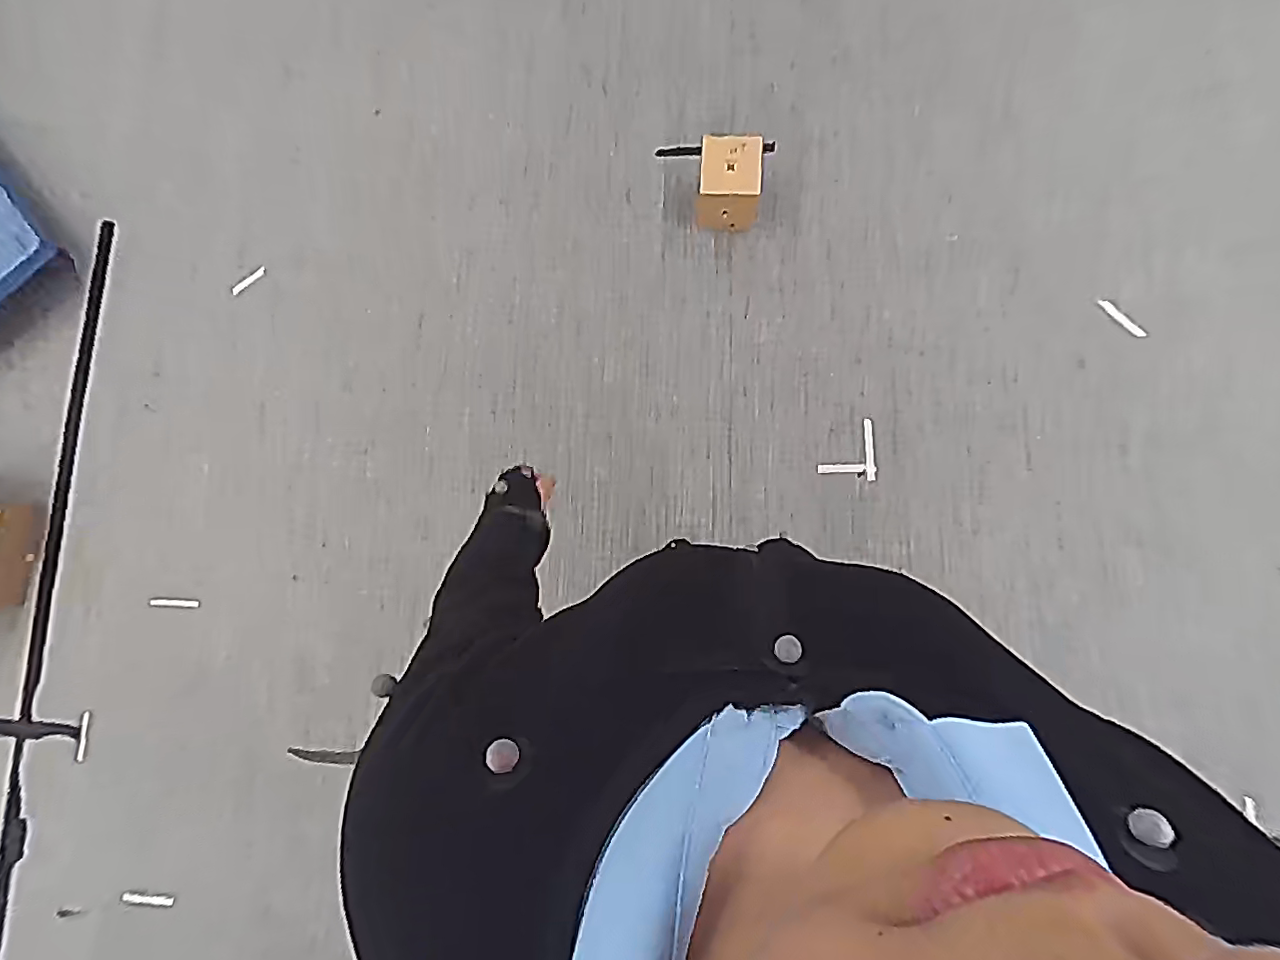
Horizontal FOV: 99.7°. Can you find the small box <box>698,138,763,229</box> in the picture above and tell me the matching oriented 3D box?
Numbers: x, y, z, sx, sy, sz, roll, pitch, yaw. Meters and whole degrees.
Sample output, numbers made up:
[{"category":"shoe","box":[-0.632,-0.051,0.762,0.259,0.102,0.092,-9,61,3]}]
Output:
[{"category":"small box","box":[0.257,-0.847,1.557,0.168,0.176,0.179,4,82,4]}]
